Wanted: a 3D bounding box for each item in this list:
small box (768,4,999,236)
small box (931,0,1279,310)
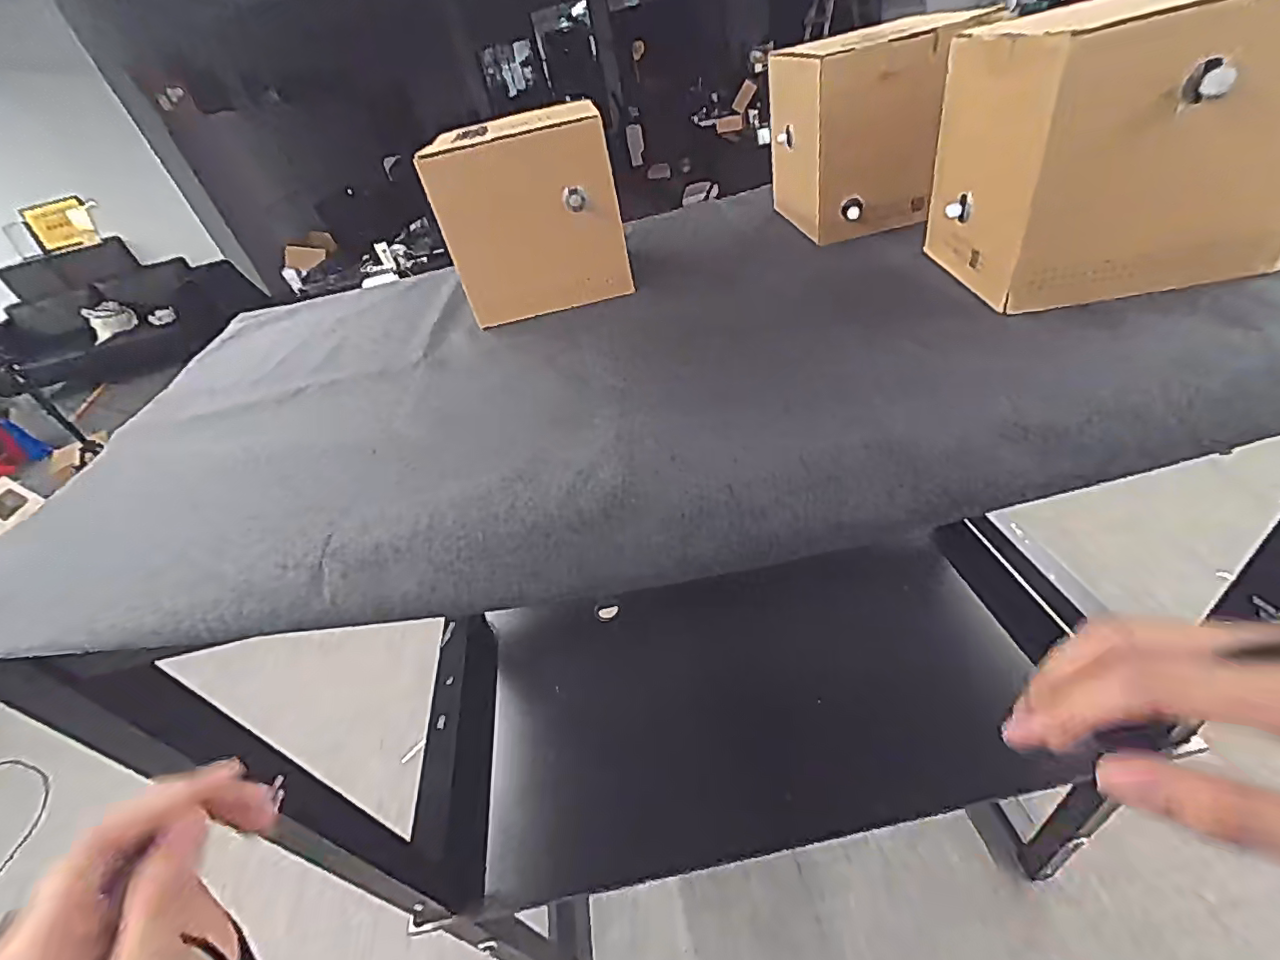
[{"bbox_3d":[0.246,-0.383,0.590,0.168,0.176,0.179,-12,38,3],"label":"small box"},{"bbox_3d":[0.338,-0.244,0.392,0.179,0.176,0.168,-8,38,10],"label":"small box"}]
